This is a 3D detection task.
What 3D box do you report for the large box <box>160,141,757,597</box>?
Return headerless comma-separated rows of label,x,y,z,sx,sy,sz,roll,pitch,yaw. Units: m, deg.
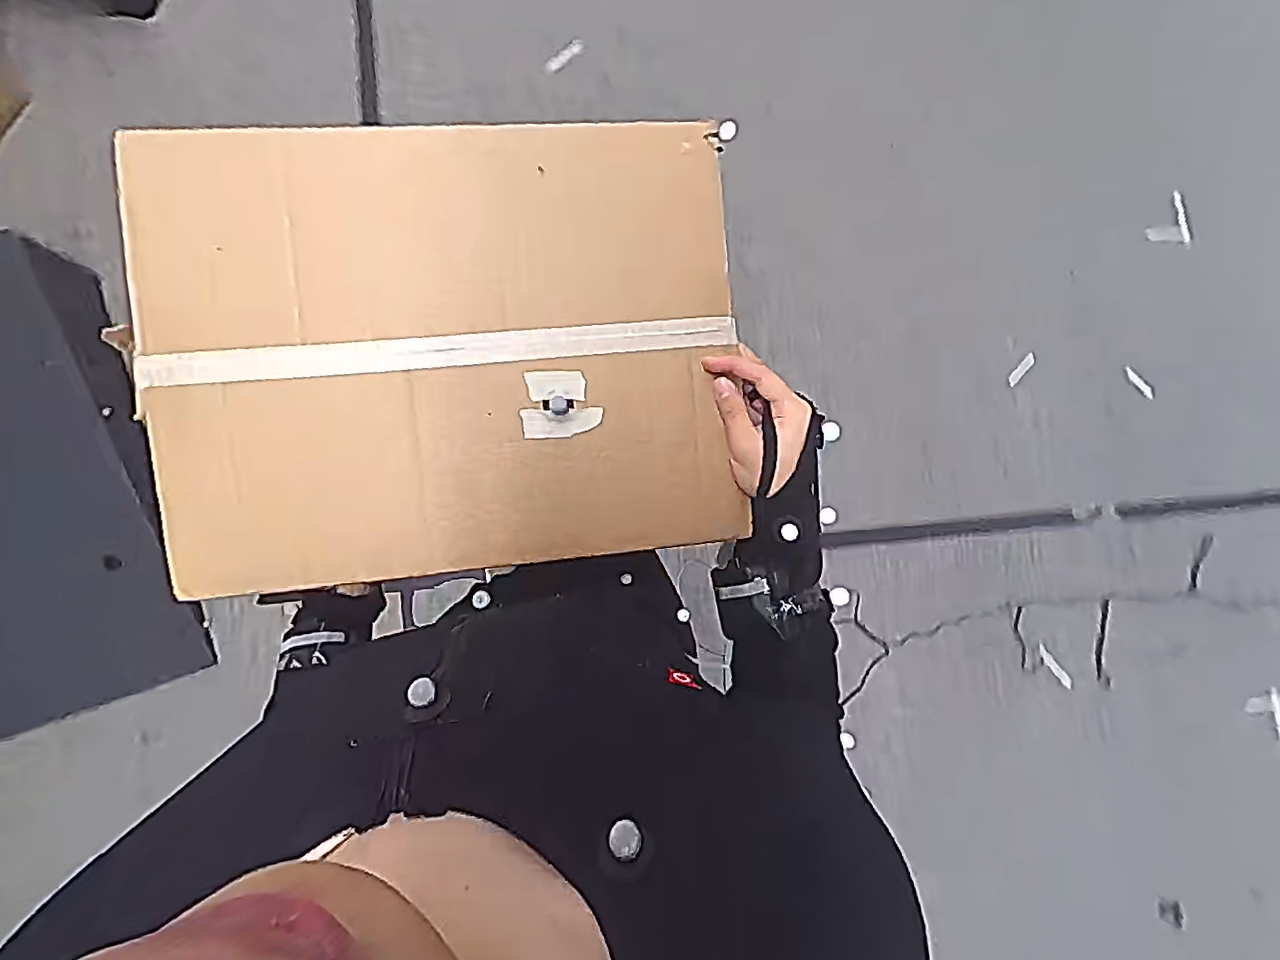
large box,-0.137,-0.092,0.541,0.408,0.320,0.320,-5,93,-8
